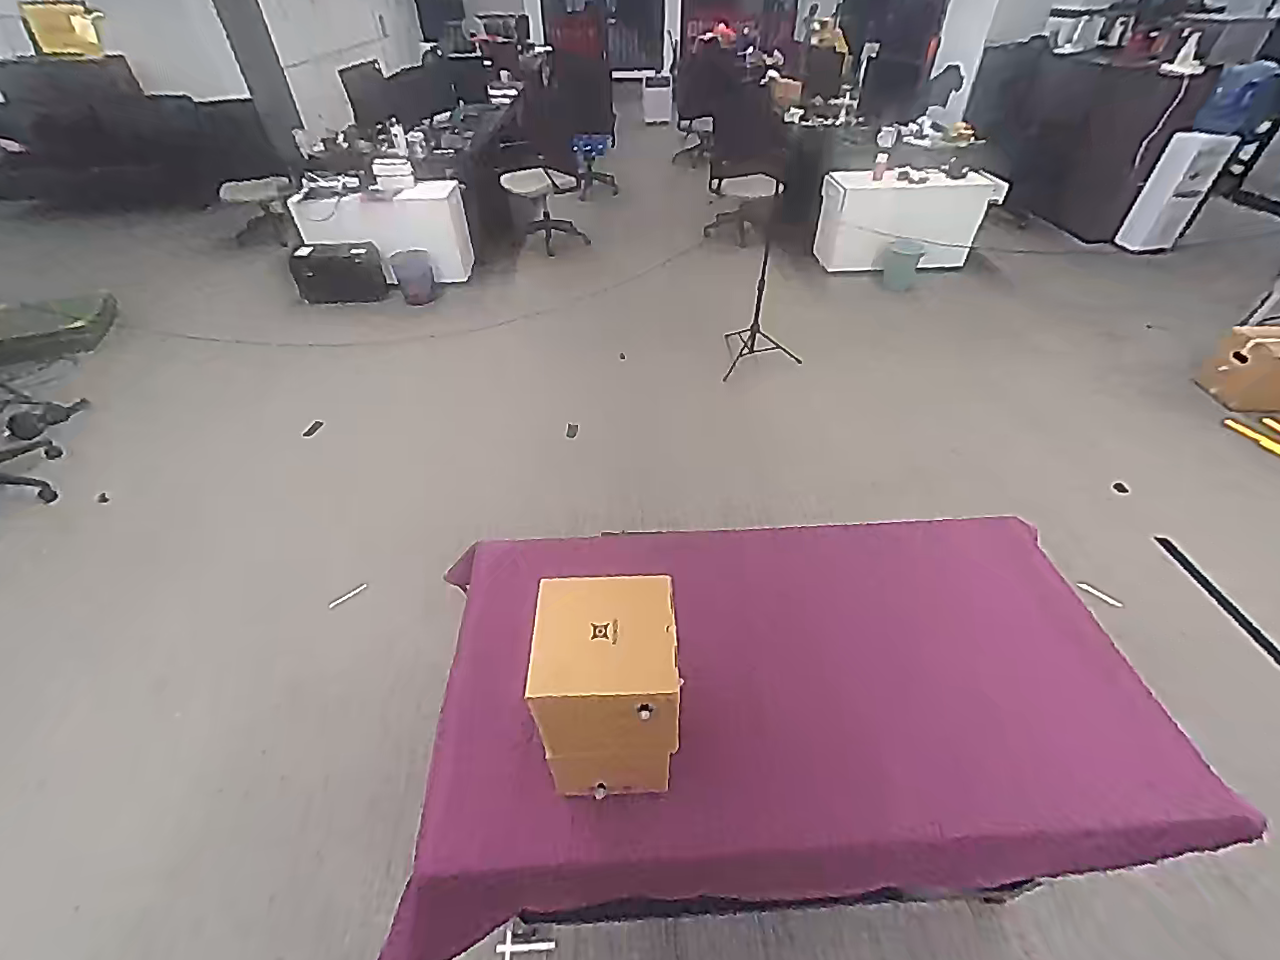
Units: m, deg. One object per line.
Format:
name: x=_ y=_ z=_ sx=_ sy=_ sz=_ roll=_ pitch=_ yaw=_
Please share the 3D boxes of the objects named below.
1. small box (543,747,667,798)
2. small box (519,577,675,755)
small box: x=-0.046 y=0.359 z=0.822 sx=0.168 sy=0.176 sz=0.179 roll=-2 pitch=44 yaw=0
small box: x=-0.046 y=0.245 z=0.707 sx=0.179 sy=0.176 sz=0.168 roll=-1 pitch=43 yaw=0
